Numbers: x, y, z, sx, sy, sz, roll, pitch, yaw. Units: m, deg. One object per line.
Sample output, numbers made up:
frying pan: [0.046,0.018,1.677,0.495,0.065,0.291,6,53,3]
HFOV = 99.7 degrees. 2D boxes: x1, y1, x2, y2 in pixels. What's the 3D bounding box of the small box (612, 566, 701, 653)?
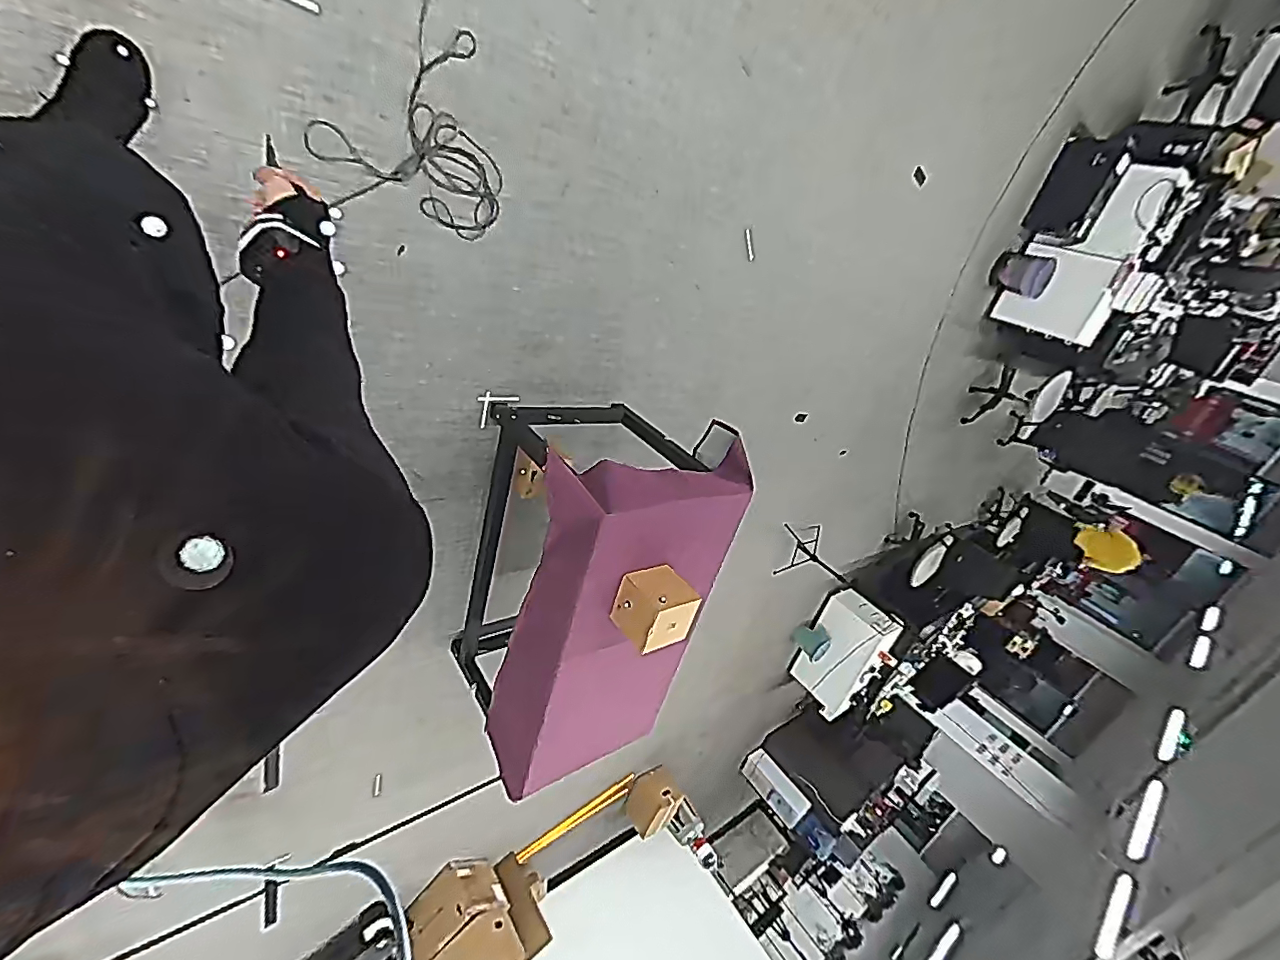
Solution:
small box: [0.046,0.376,1.607,0.179,0.176,0.168,-6,124,-40]
